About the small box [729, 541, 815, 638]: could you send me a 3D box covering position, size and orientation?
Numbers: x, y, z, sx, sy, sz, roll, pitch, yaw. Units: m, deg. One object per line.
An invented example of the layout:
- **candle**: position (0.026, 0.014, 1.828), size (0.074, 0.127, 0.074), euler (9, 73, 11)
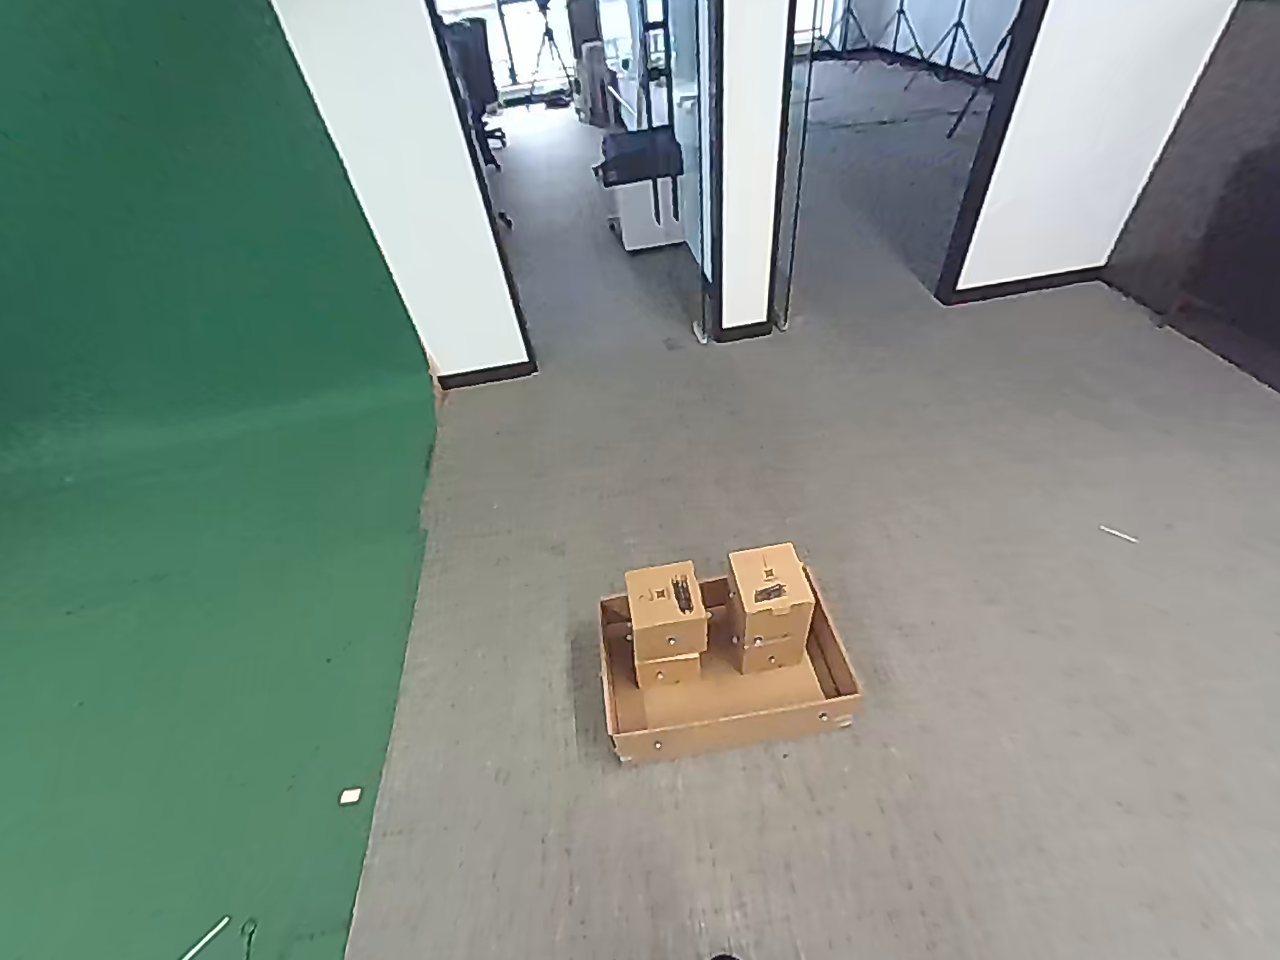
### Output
- **small box**: position (0.326, 0.283, 1.364), size (0.168, 0.176, 0.179), euler (-10, 46, 0)

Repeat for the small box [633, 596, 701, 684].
- **small box**: position (0.074, 0.443, 1.478), size (0.168, 0.176, 0.179), euler (-6, 45, 1)

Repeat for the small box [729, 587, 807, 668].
- **small box**: position (0.344, 0.397, 1.481), size (0.168, 0.176, 0.179), euler (-10, 46, -1)
